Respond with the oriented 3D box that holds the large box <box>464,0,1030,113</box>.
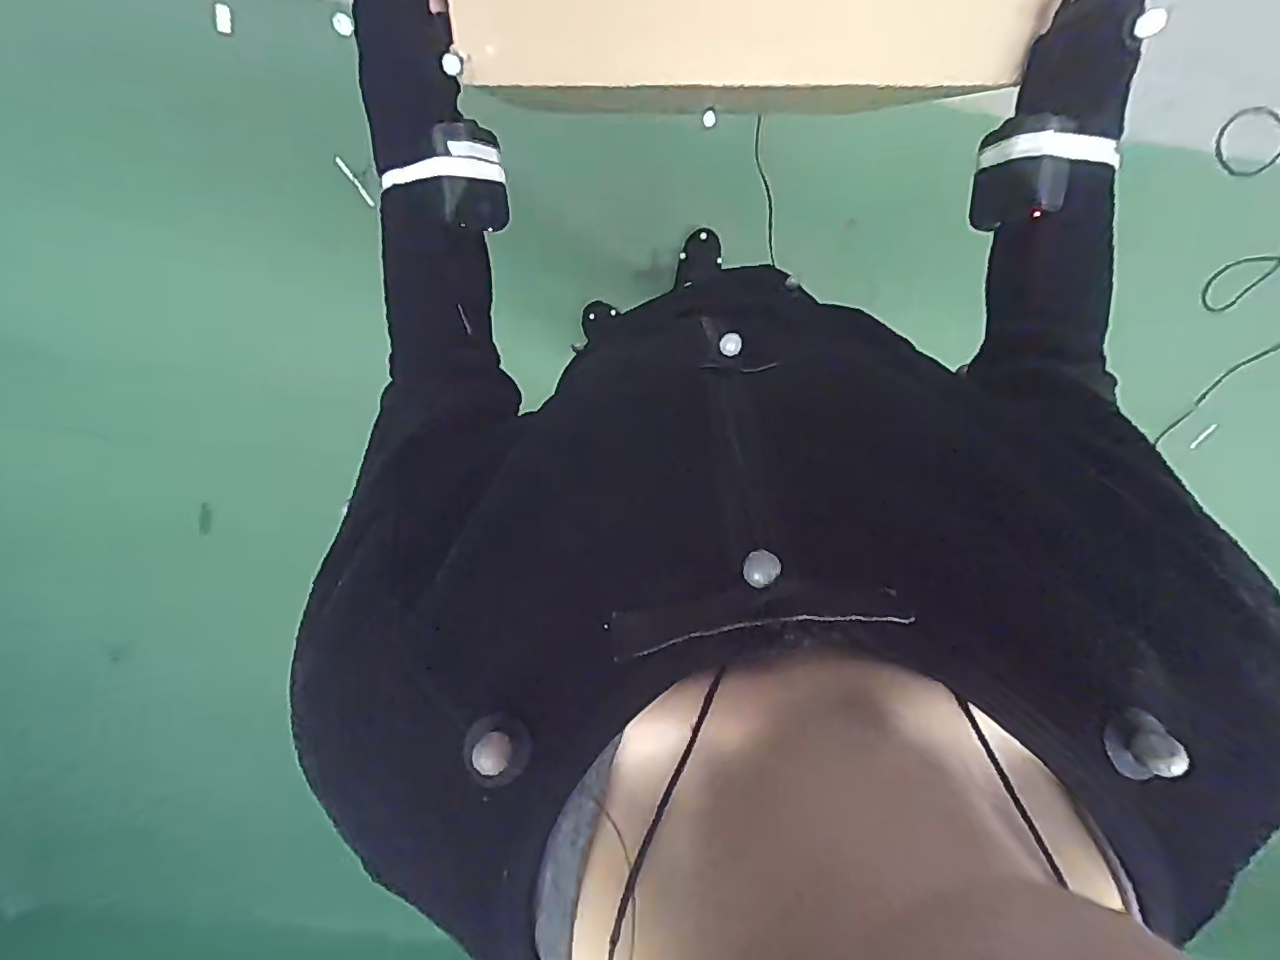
[{"bbox_3d":[0.072,-0.498,0.447,0.408,0.320,0.320,-1,121,-2],"label":"large box"}]
